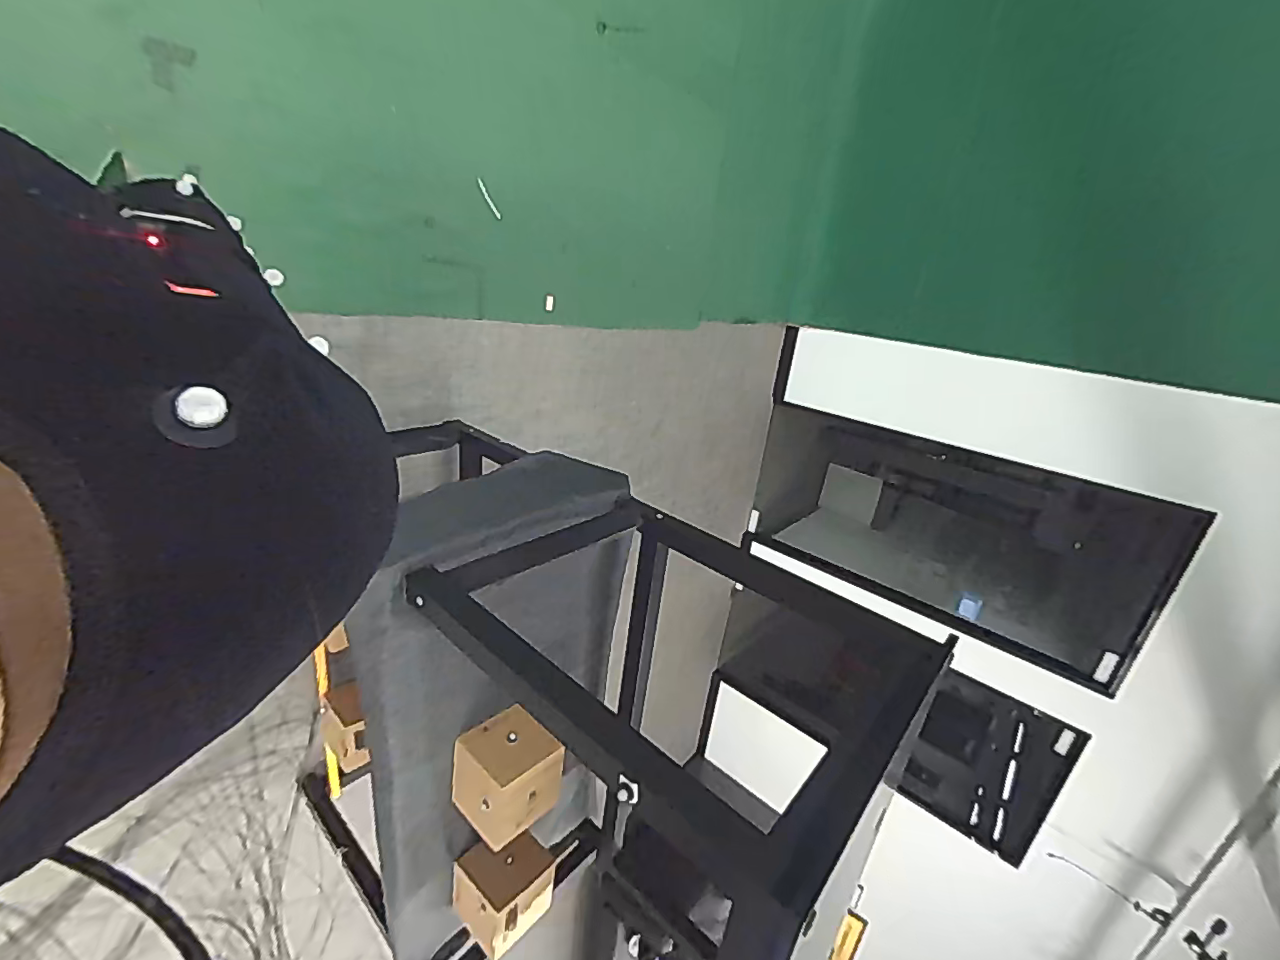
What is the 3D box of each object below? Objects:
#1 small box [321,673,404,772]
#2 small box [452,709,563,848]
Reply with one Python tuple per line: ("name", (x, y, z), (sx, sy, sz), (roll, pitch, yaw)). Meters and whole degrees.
("small box", (-0.826, 0.709, 1.602), (0.179, 0.176, 0.168), (-13, 119, -49))
("small box", (-0.291, 0.632, 1.177), (0.168, 0.176, 0.179), (-14, 119, -49))
